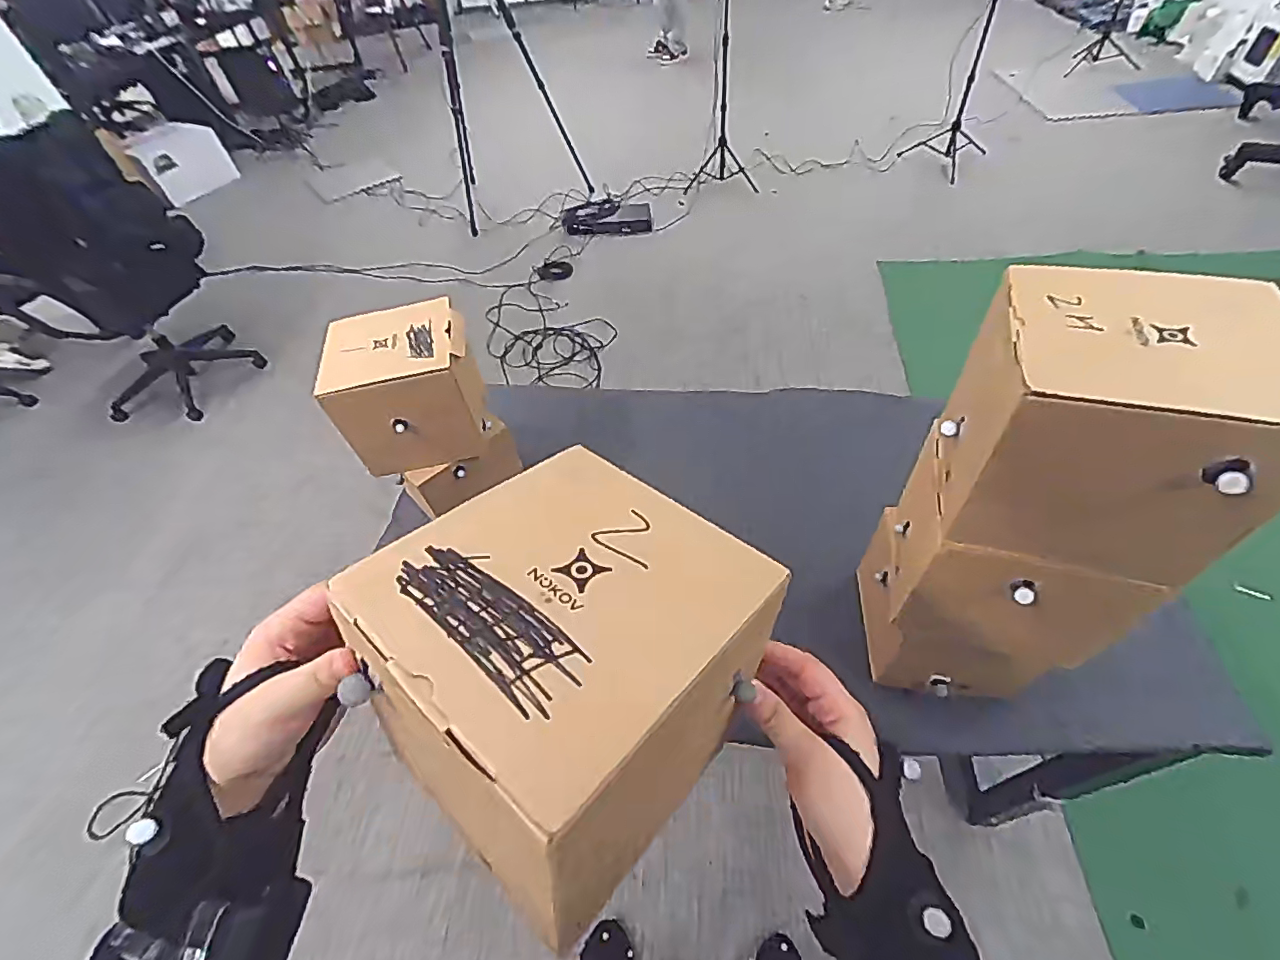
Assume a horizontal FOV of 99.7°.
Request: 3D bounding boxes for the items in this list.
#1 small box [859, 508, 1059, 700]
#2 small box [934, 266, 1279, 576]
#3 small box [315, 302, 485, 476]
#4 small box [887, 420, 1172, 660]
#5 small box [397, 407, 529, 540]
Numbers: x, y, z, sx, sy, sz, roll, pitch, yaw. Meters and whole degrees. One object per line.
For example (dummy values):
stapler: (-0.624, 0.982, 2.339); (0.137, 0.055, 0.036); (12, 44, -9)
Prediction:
small box: (0.387, 0.157, 0.687); (0.168, 0.176, 0.179); (2, 50, 9)
small box: (0.357, -0.044, 0.430); (0.179, 0.176, 0.168); (11, 52, 17)
small box: (-0.334, -0.130, 0.795); (0.179, 0.176, 0.168); (-13, 51, -4)
small box: (0.370, 0.064, 0.554); (0.179, 0.176, 0.168); (10, 51, 16)
small box: (-0.318, -0.030, 0.925); (0.168, 0.176, 0.179); (-39, 57, -23)
